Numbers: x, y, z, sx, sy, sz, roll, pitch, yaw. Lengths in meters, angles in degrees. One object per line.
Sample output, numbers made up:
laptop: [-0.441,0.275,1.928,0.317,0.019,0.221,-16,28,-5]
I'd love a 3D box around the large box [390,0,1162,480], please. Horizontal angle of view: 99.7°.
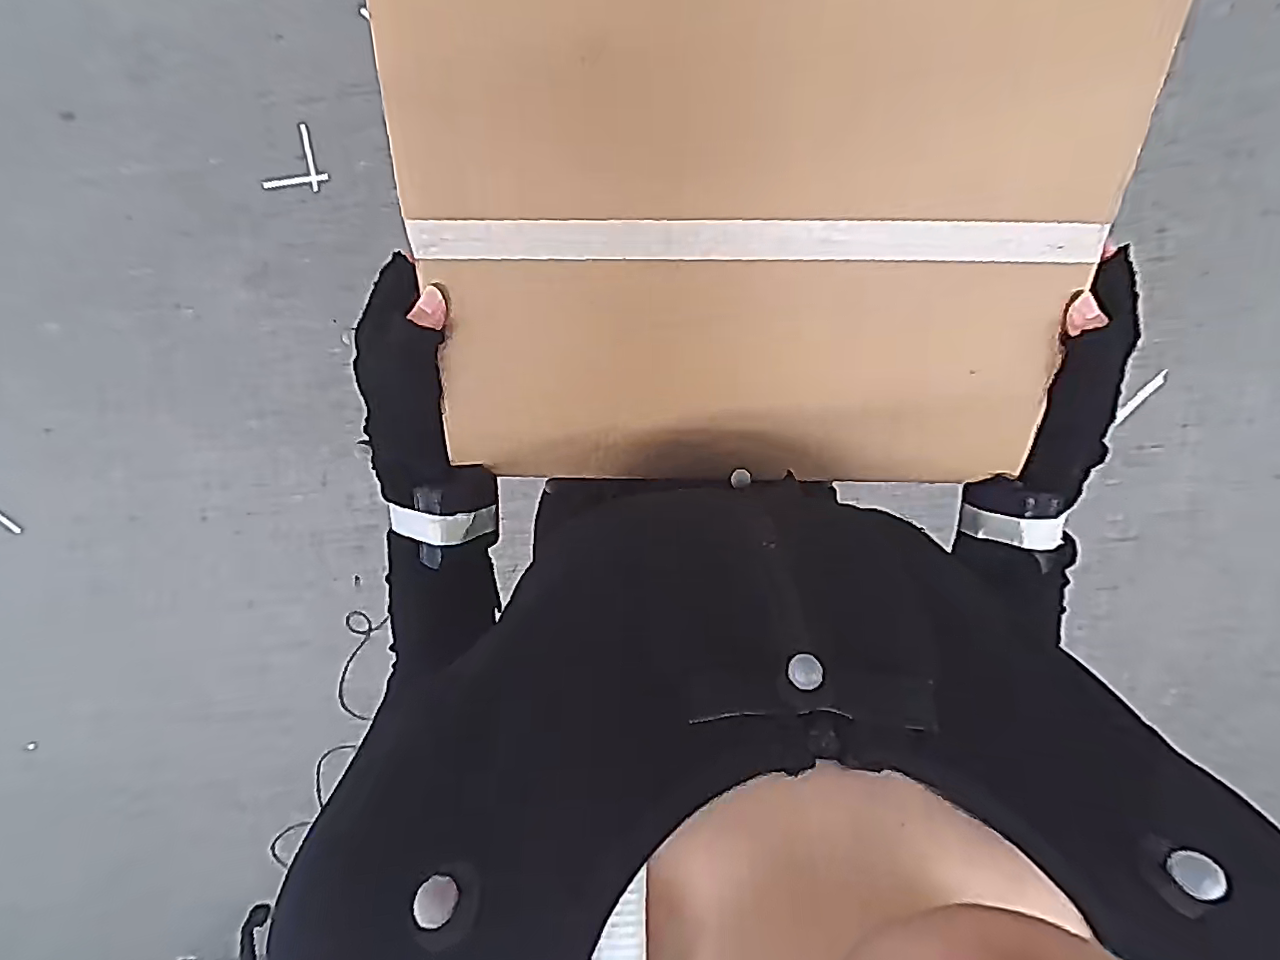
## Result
large box: [0.068,-0.205,0.465,0.408,0.320,0.320,1,118,0]
